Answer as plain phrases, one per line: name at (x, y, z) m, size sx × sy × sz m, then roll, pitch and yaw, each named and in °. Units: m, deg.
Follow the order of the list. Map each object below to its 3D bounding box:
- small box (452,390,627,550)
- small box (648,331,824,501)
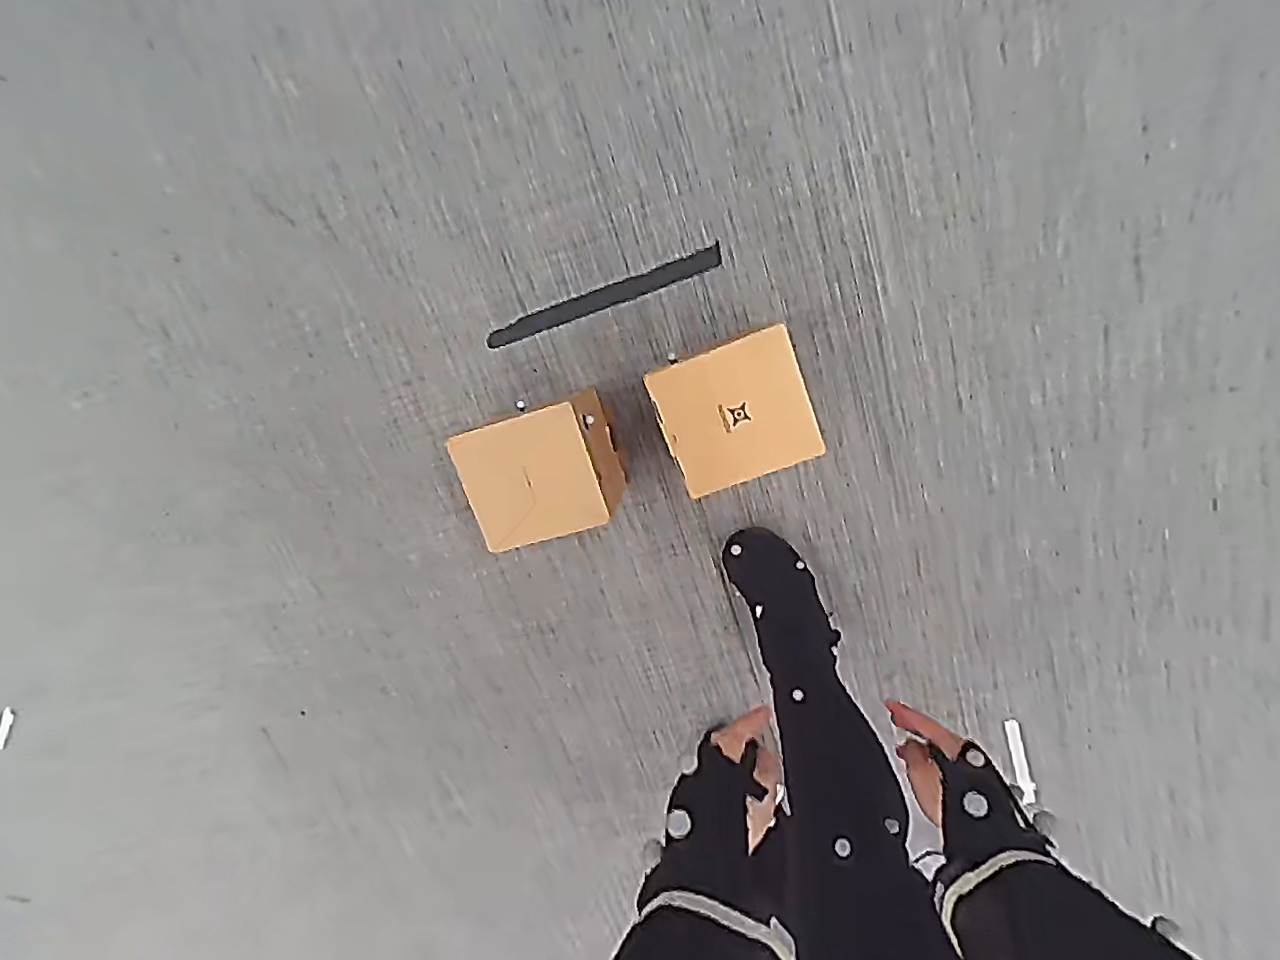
small box at (-0.133, -0.017, 0.771) m, size 0.179 × 0.176 × 0.168 m, roll -15°, pitch 103°, yaw 9°
small box at (0.123, -0.095, 0.729) m, size 0.179 × 0.176 × 0.168 m, roll -20°, pitch 103°, yaw 11°
